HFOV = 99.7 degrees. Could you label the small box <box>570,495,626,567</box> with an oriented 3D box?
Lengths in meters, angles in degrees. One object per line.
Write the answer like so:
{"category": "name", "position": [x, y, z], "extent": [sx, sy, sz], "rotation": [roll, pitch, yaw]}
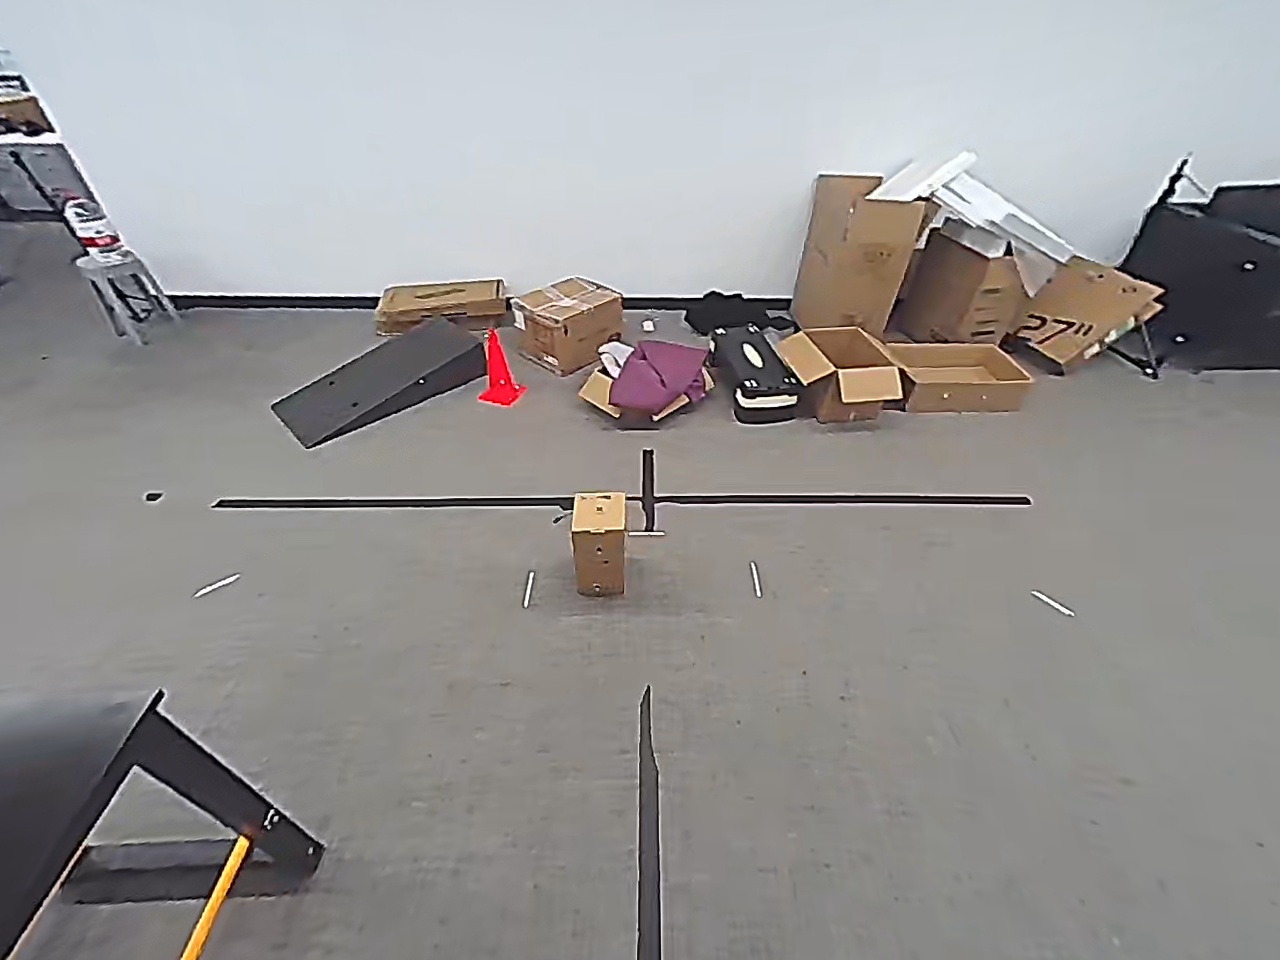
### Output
{"category": "small box", "position": [-0.131, 0.168, 1.760], "extent": [0.168, 0.176, 0.179], "rotation": [-1, 41, 0]}

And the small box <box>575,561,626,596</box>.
{"category": "small box", "position": [-0.135, 0.282, 1.880], "extent": [0.168, 0.176, 0.179], "rotation": [-2, 42, -1]}
